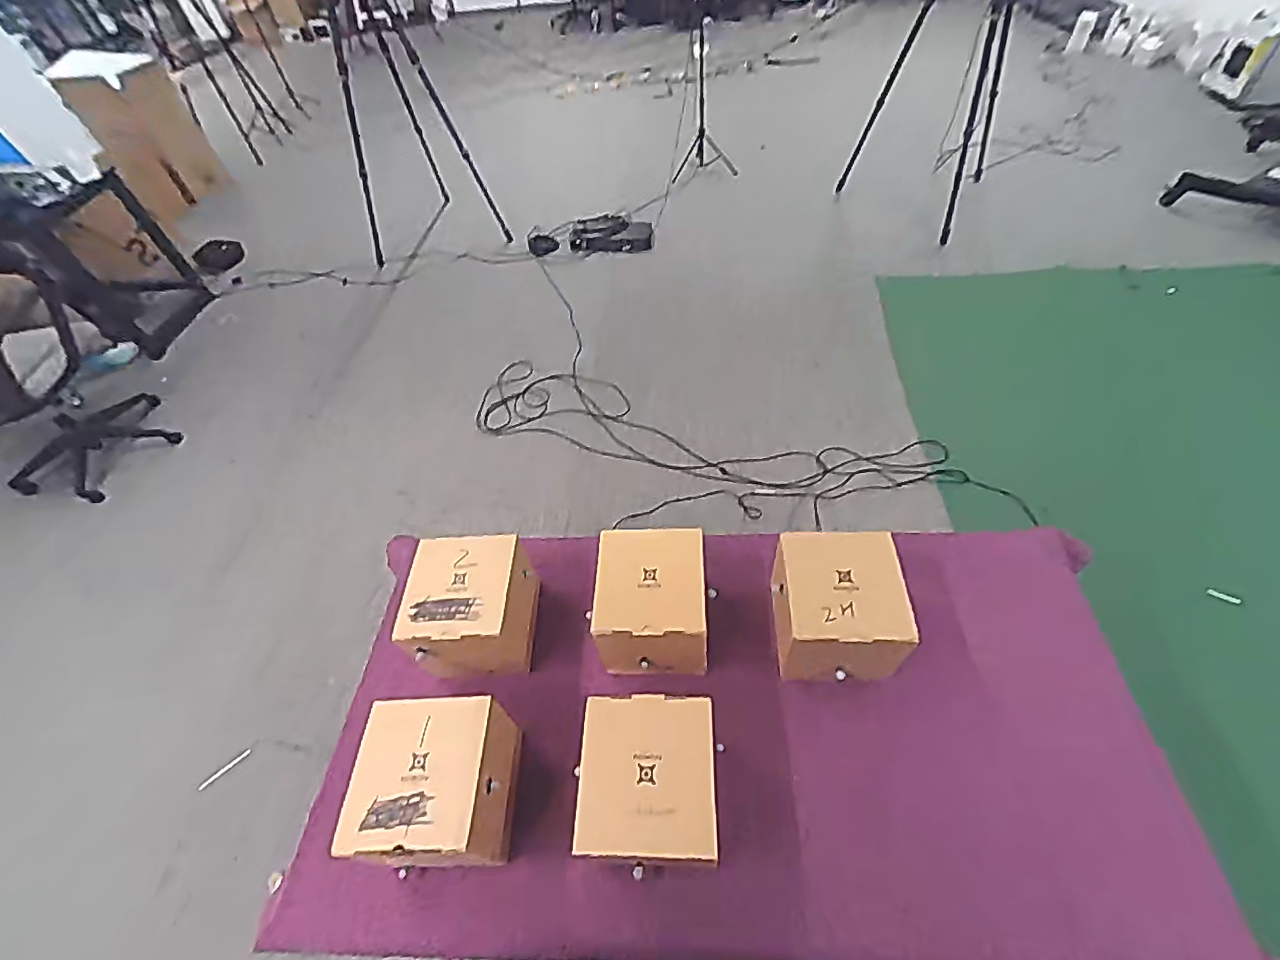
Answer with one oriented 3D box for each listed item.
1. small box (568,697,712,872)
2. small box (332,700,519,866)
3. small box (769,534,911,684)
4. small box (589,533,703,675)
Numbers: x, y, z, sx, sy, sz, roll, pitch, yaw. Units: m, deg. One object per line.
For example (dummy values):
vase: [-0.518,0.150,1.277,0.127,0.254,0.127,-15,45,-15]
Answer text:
small box: [0.010,0.406,0.721,0.168,0.176,0.179,-2,52,7]
small box: [-0.275,0.420,0.743,0.168,0.176,0.179,-4,49,4]
small box: [0.296,0.201,0.844,0.168,0.176,0.179,-1,52,7]
small box: [0.018,0.204,0.884,0.168,0.176,0.179,-2,52,6]
